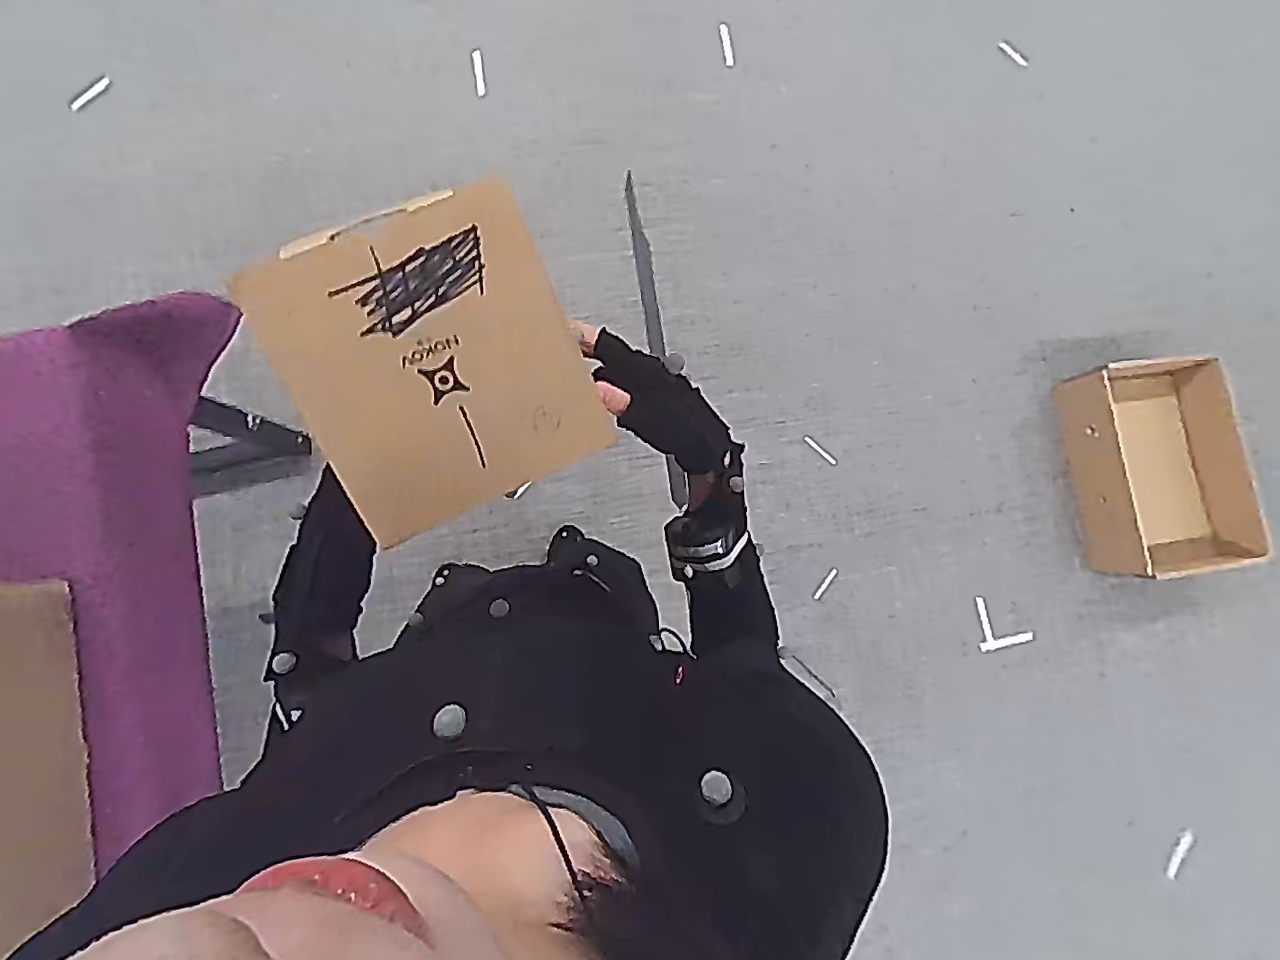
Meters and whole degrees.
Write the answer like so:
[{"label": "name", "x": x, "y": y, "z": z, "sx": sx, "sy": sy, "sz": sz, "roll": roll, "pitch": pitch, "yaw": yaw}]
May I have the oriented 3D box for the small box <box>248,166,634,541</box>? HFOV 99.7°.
[{"label": "small box", "x": -0.123, "y": -0.080, "z": 0.396, "sx": 0.168, "sy": 0.176, "sz": 0.179, "roll": -25, "pitch": 100, "yaw": -5}]
